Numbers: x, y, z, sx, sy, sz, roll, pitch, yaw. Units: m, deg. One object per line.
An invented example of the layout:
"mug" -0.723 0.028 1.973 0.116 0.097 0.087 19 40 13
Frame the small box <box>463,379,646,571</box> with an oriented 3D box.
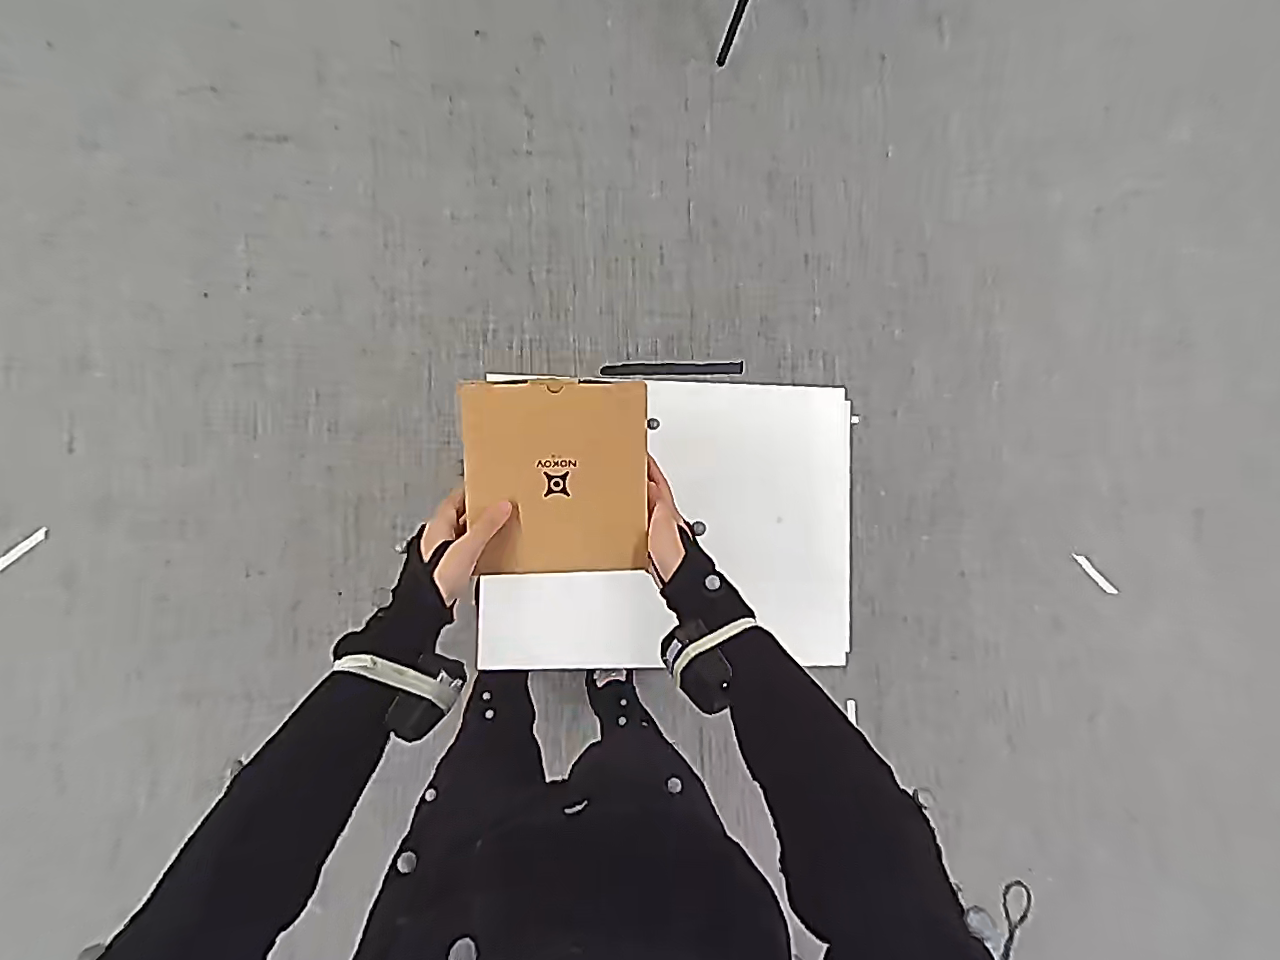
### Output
"small box" -0.081 -0.012 0.571 0.168 0.176 0.179 -2 95 -5
